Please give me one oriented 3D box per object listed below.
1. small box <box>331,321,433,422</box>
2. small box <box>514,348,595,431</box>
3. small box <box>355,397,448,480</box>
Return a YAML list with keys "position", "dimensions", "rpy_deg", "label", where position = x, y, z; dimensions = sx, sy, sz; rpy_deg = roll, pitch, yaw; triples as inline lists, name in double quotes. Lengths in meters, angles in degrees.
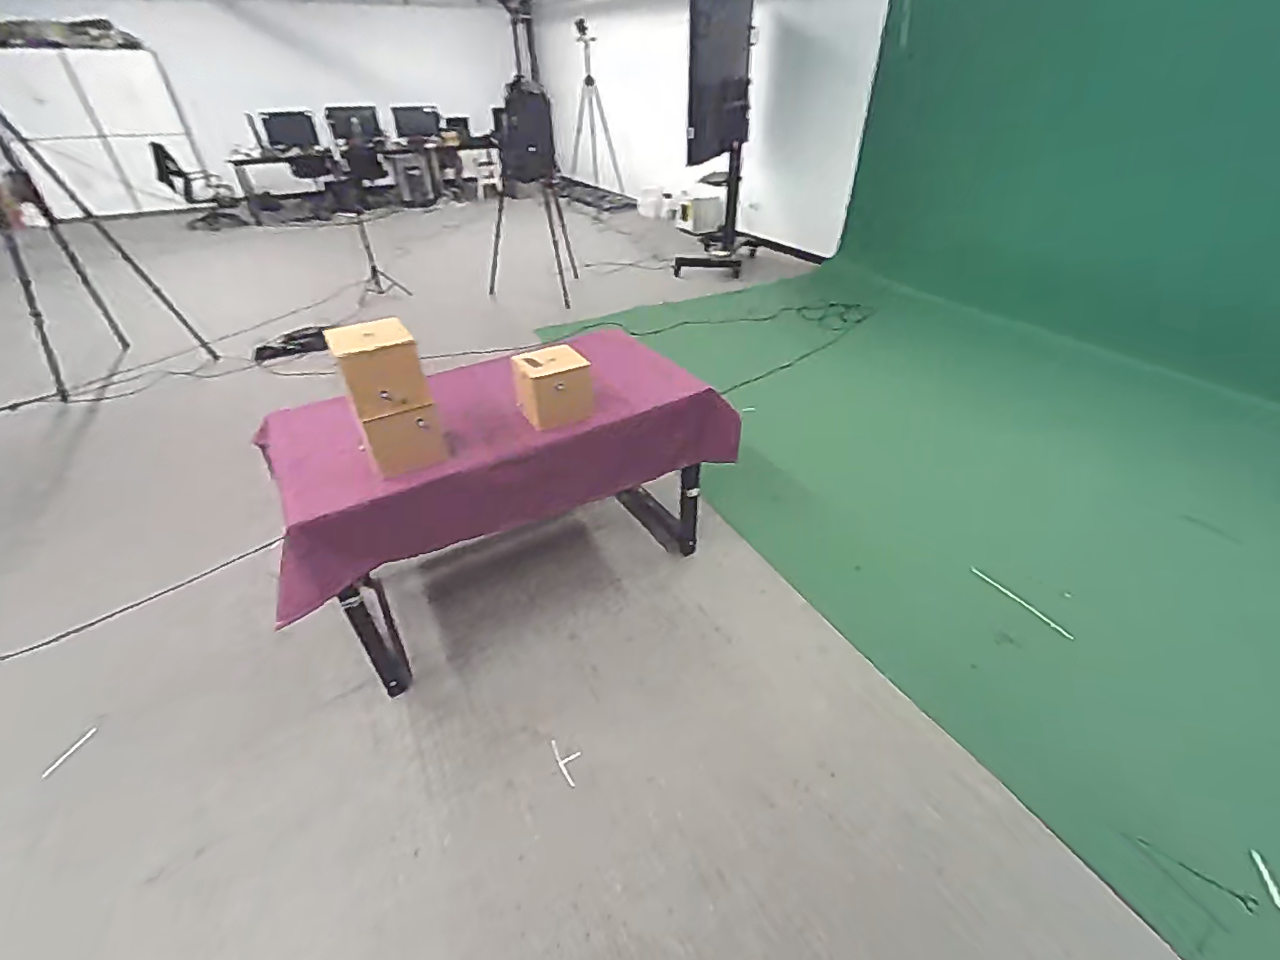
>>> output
- position: [-0.617, -0.261, 1.296]
  dimensions: [0.168, 0.176, 0.179]
  rpy_deg: [-21, 42, -25]
  label: "small box"
- position: [-0.244, -0.260, 1.559]
  dimensions: [0.179, 0.176, 0.168]
  rpy_deg: [-20, 41, -24]
  label: "small box"
- position: [-0.609, -0.128, 1.390]
  dimensions: [0.179, 0.176, 0.168]
  rpy_deg: [-21, 40, -25]
  label: "small box"
